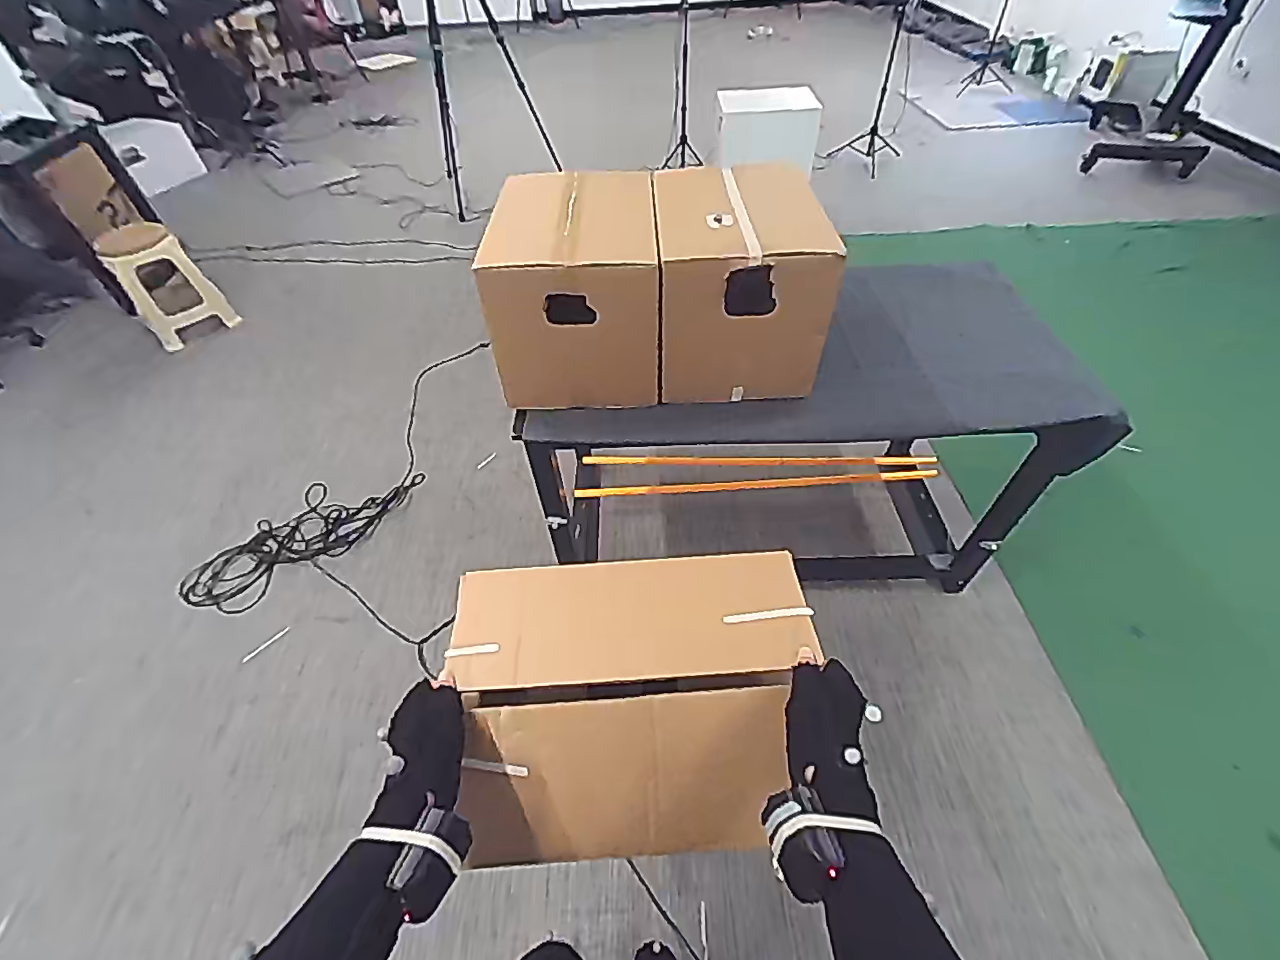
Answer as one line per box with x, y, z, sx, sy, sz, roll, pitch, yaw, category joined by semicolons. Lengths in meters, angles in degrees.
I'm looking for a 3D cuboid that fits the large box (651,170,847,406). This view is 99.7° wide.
0.191;-0.408;1.140;0.320;0.320;0.408;-3;49;1;large box
